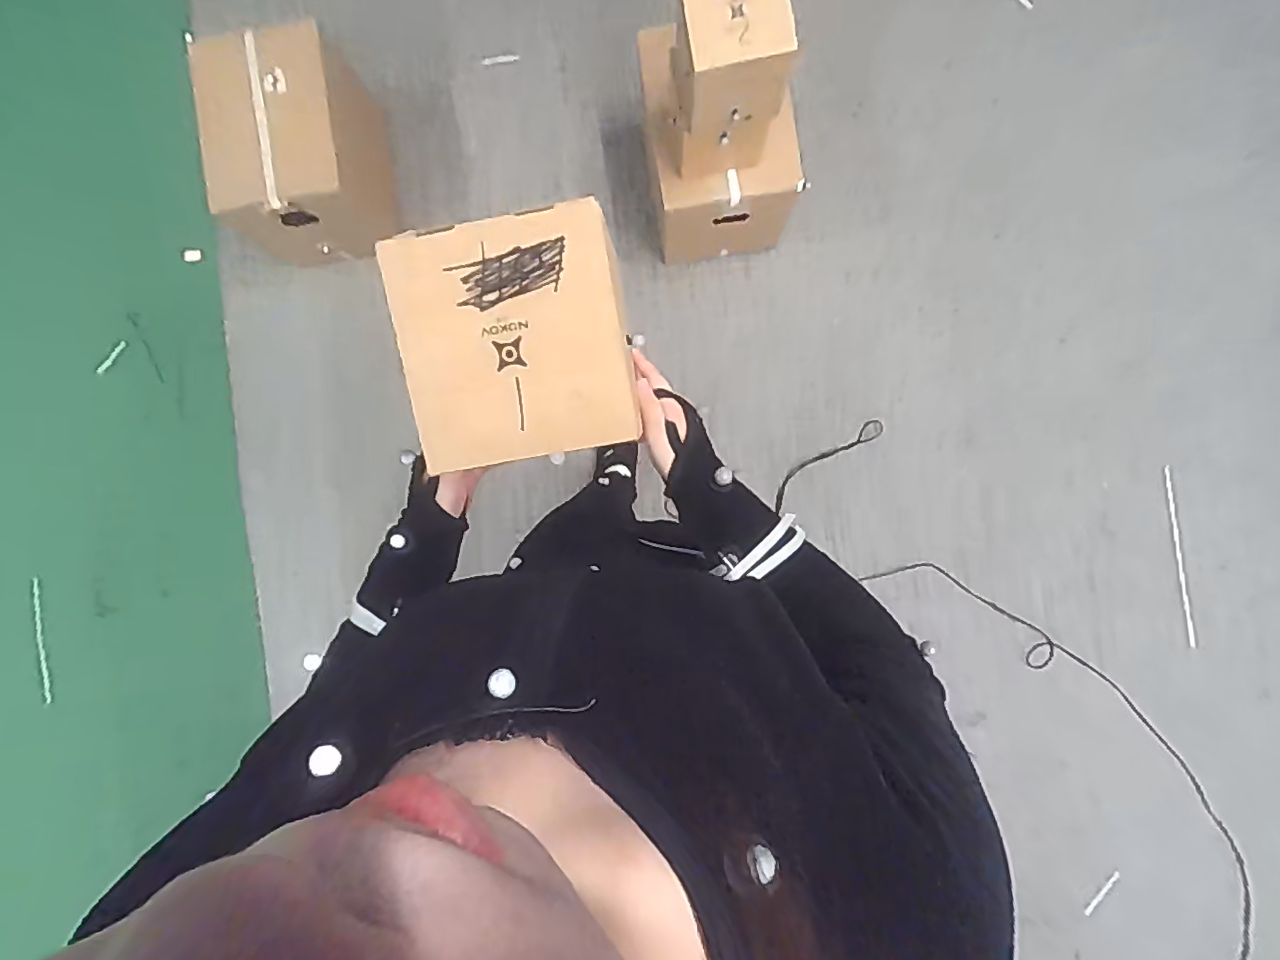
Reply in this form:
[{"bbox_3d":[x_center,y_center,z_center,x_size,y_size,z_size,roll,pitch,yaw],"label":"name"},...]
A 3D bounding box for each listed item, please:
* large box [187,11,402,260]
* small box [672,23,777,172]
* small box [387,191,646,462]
[{"bbox_3d":[-0.843,-0.834,1.366,0.320,0.320,0.408,-8,89,3],"label":"large box"},{"bbox_3d":[0.162,-0.755,1.085,0.179,0.176,0.168,-10,90,4],"label":"small box"},{"bbox_3d":[-0.088,-0.121,0.477,0.168,0.176,0.179,-9,99,4],"label":"small box"}]
